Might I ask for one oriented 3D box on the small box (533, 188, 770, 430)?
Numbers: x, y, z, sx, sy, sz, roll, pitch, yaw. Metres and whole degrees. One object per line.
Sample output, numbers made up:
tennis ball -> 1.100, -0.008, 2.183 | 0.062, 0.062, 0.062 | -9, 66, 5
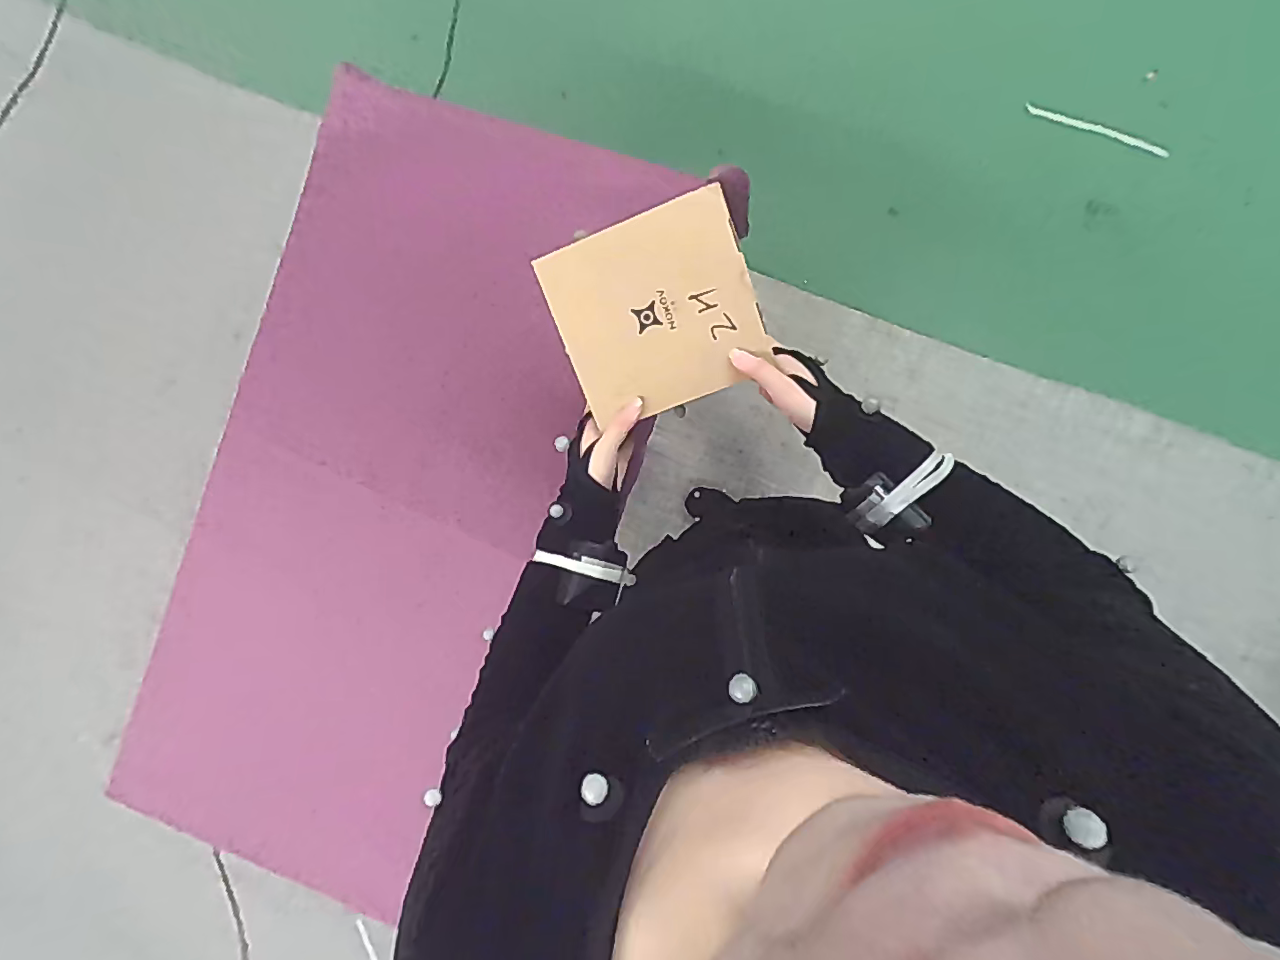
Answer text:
small box -> 0.017, -0.164, 0.559 | 0.179, 0.176, 0.168 | -19, 102, 8
